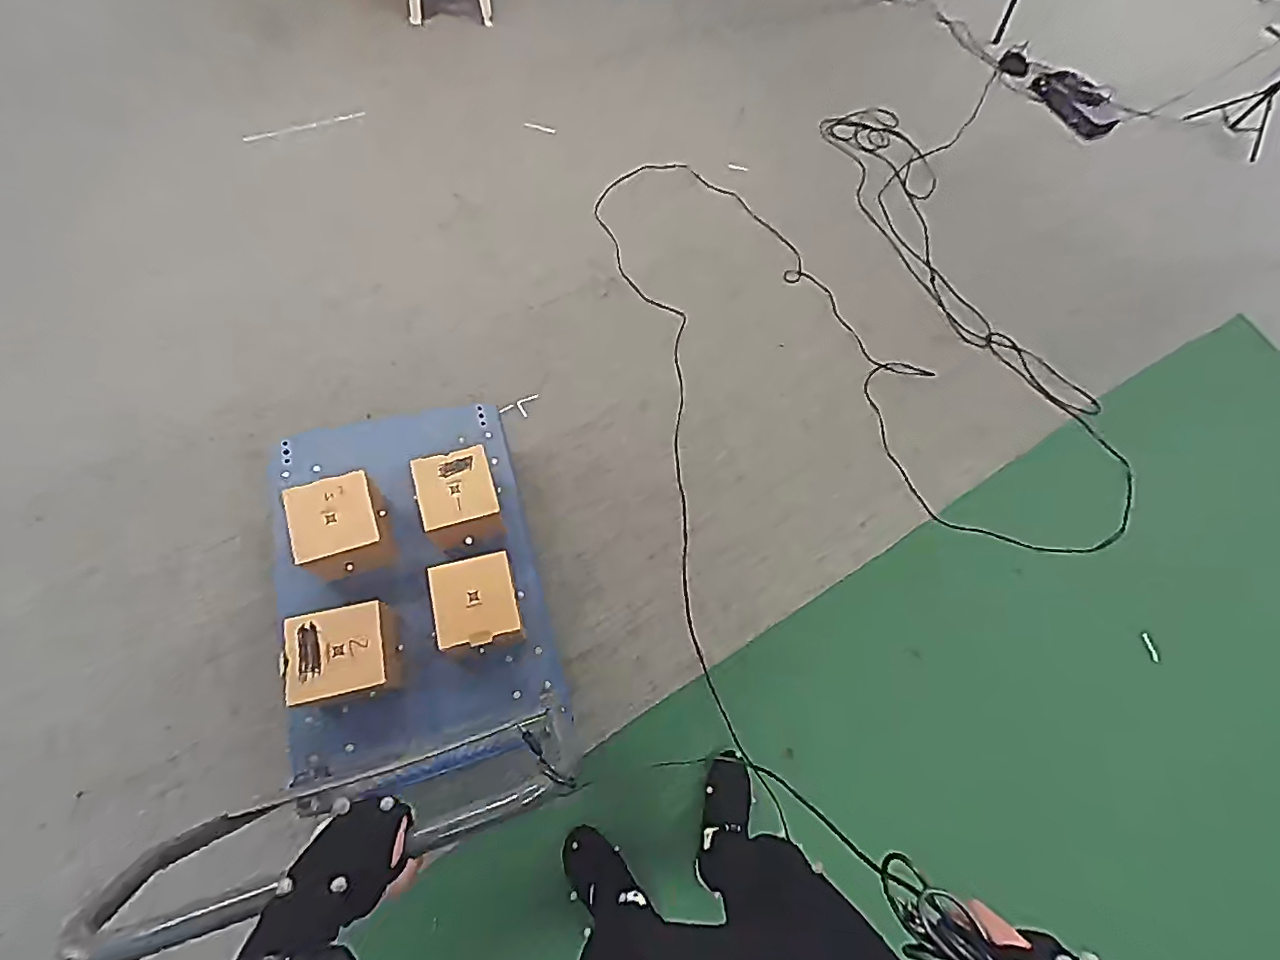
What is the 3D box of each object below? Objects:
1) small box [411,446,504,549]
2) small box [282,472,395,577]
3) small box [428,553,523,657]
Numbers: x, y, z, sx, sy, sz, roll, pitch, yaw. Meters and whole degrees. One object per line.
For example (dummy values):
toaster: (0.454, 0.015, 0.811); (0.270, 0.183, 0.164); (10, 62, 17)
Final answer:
small box: (-0.425, 0.045, 1.276); (0.168, 0.176, 0.179); (-15, 72, -14)
small box: (-0.665, 0.107, 1.209); (0.168, 0.176, 0.179); (-16, 72, -16)
small box: (-0.358, 0.279, 1.194); (0.168, 0.176, 0.179); (-12, 72, -14)
